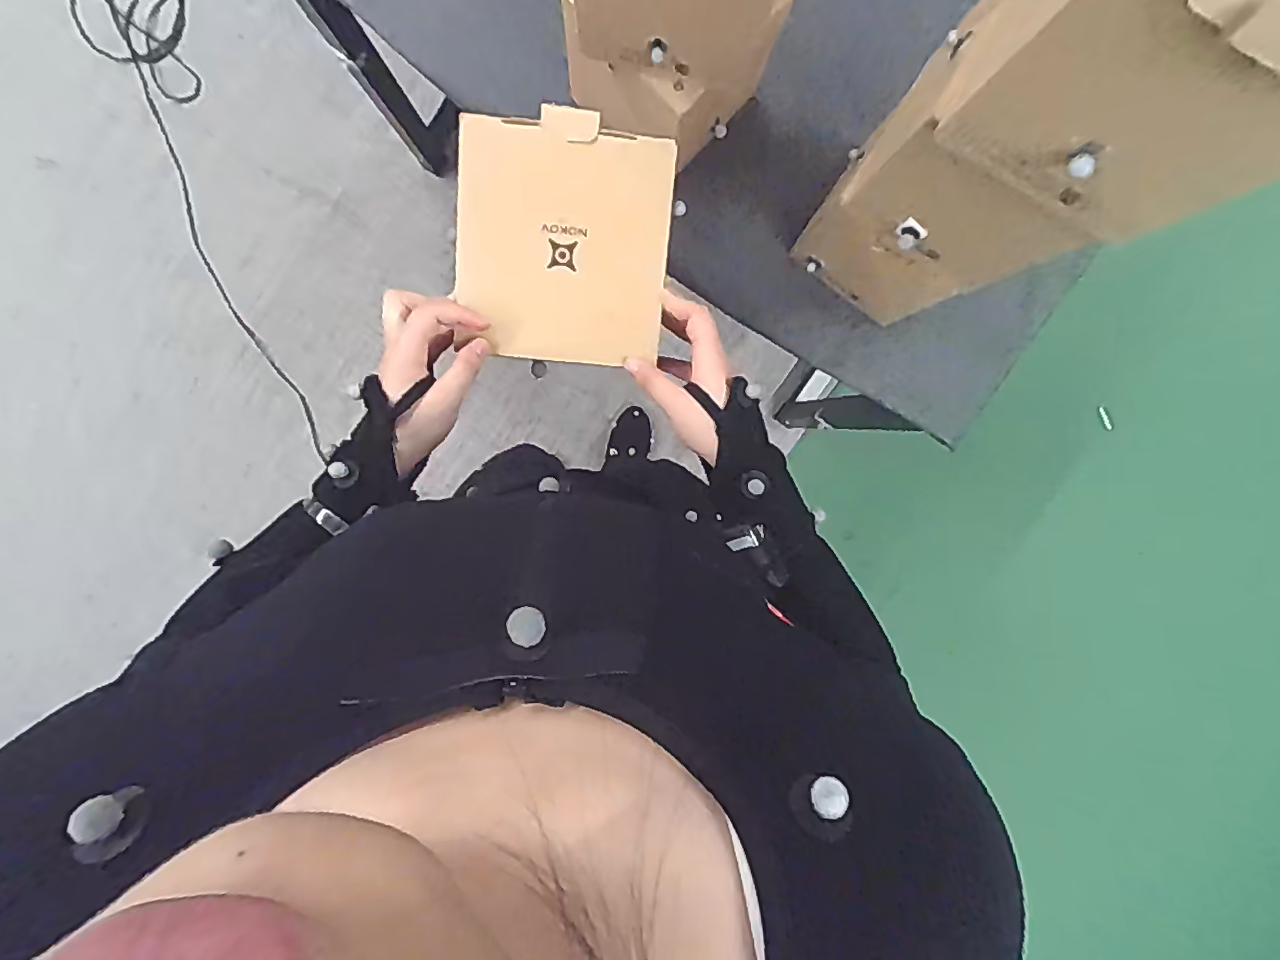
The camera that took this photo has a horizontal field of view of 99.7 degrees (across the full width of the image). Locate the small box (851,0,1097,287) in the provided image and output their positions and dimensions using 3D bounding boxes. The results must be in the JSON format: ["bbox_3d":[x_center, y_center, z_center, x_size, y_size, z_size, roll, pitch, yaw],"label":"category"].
[{"bbox_3d":[0.323,-0.307,0.483,0.168,0.176,0.179,31,93,-4],"label":"small box"}]

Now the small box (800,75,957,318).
[{"bbox_3d":[0.316,-0.322,0.644,0.168,0.176,0.179,35,90,-5],"label":"small box"}]

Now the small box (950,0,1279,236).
[{"bbox_3d":[0.329,-0.286,0.318,0.168,0.176,0.179,28,92,-3],"label":"small box"}]

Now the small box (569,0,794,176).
[{"bbox_3d":[0.035,-0.491,0.614,0.168,0.176,0.179,43,90,-6],"label":"small box"}]

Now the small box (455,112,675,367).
[{"bbox_3d":[-0.064,-0.199,0.500,0.168,0.176,0.179,3,100,-4],"label":"small box"}]
